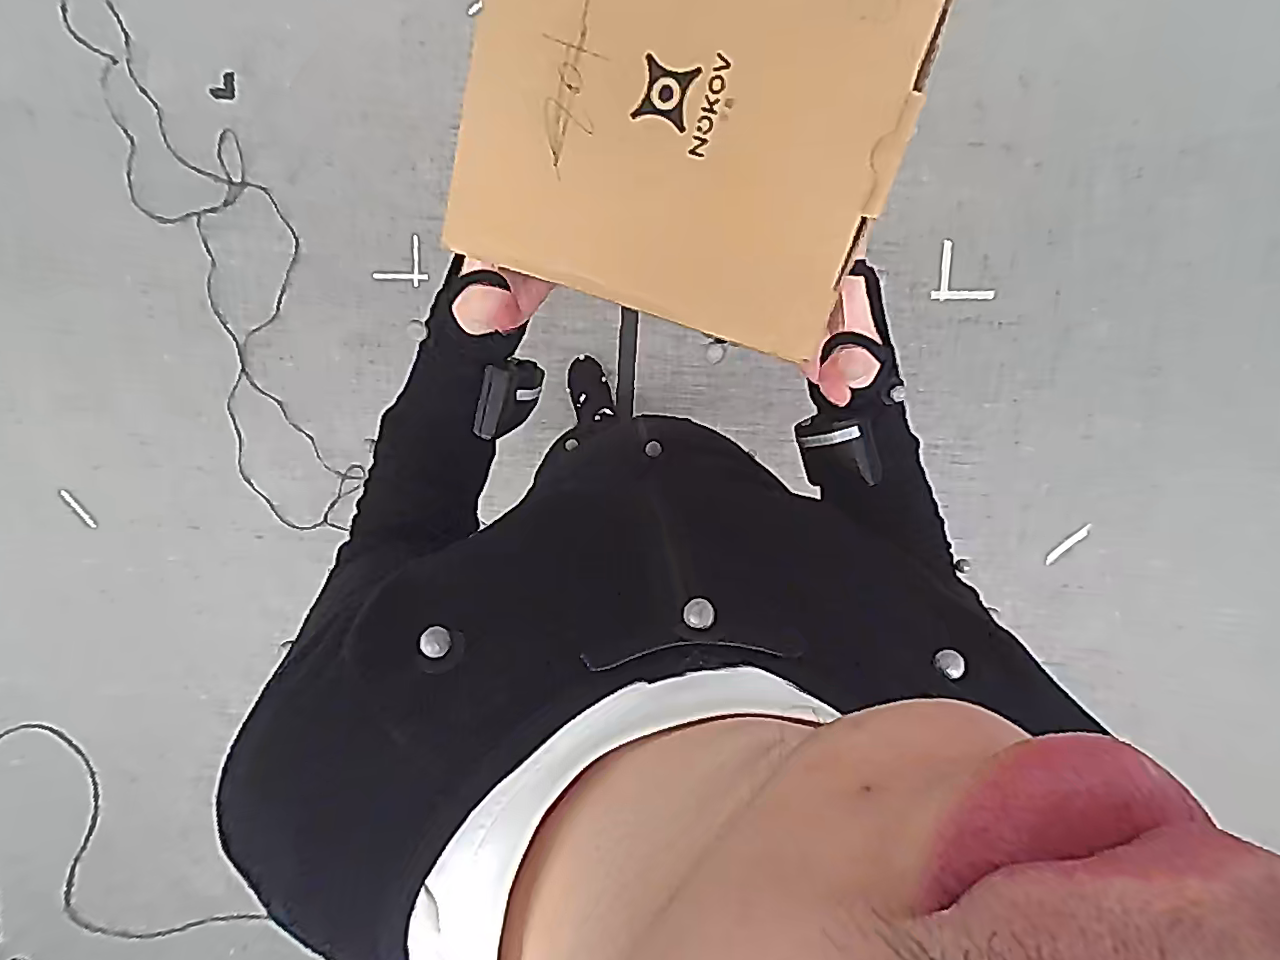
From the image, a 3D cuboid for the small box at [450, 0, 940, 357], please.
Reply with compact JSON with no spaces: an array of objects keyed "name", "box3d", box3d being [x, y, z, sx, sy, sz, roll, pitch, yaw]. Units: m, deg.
[{"name":"small box","box3d":[0.028,-0.178,0.301,0.179,0.176,0.168,19,107,6]}]
